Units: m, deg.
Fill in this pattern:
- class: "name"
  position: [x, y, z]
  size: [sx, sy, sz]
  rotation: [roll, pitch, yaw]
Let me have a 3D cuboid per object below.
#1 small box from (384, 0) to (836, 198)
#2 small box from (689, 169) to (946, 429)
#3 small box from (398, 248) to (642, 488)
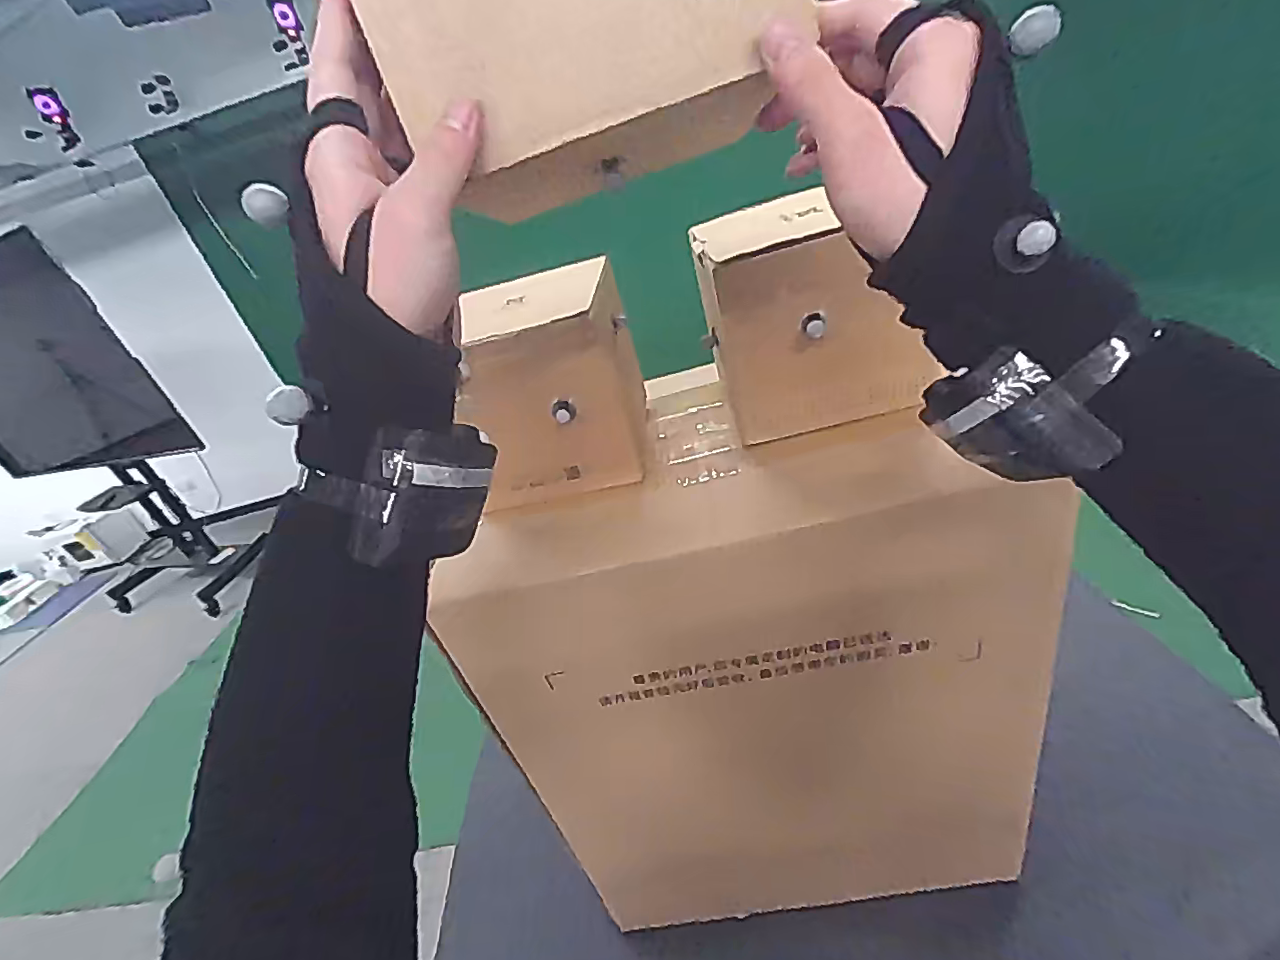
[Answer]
- class: "small box"
  position: [-0.028, -0.264, 0.269]
  size: [0.179, 0.168, 0.176]
  rotation: [-16, 18, 4]
- class: "small box"
  position: [0.156, -0.167, 0.502]
  size: [0.179, 0.176, 0.168]
  rotation: [-14, 33, 6]
- class: "small box"
  position: [-0.094, -0.105, 0.527]
  size: [0.168, 0.176, 0.179]
  rotation: [-10, 32, 7]
